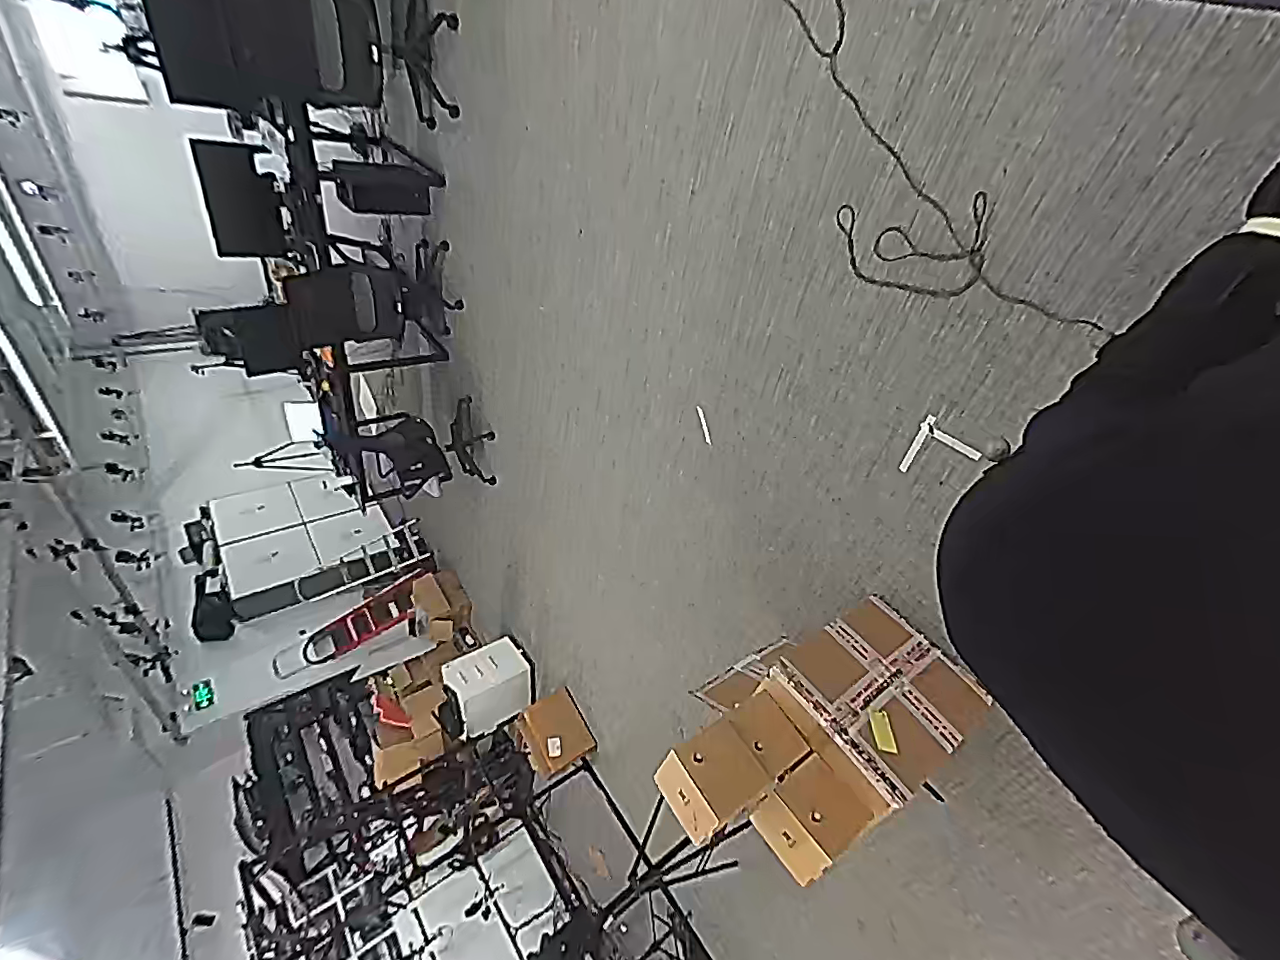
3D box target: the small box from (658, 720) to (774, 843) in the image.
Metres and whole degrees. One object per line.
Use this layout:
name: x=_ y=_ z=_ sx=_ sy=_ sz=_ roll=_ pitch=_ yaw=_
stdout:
small box: x=0.175 y=0.692 z=1.262 sx=0.179 sy=0.176 sz=0.168 roll=49 pitch=139 yaw=32

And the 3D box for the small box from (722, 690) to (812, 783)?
small box: x=0.299 y=0.671 z=1.372 sx=0.179 sy=0.176 sz=0.168 roll=52 pitch=140 yaw=30
